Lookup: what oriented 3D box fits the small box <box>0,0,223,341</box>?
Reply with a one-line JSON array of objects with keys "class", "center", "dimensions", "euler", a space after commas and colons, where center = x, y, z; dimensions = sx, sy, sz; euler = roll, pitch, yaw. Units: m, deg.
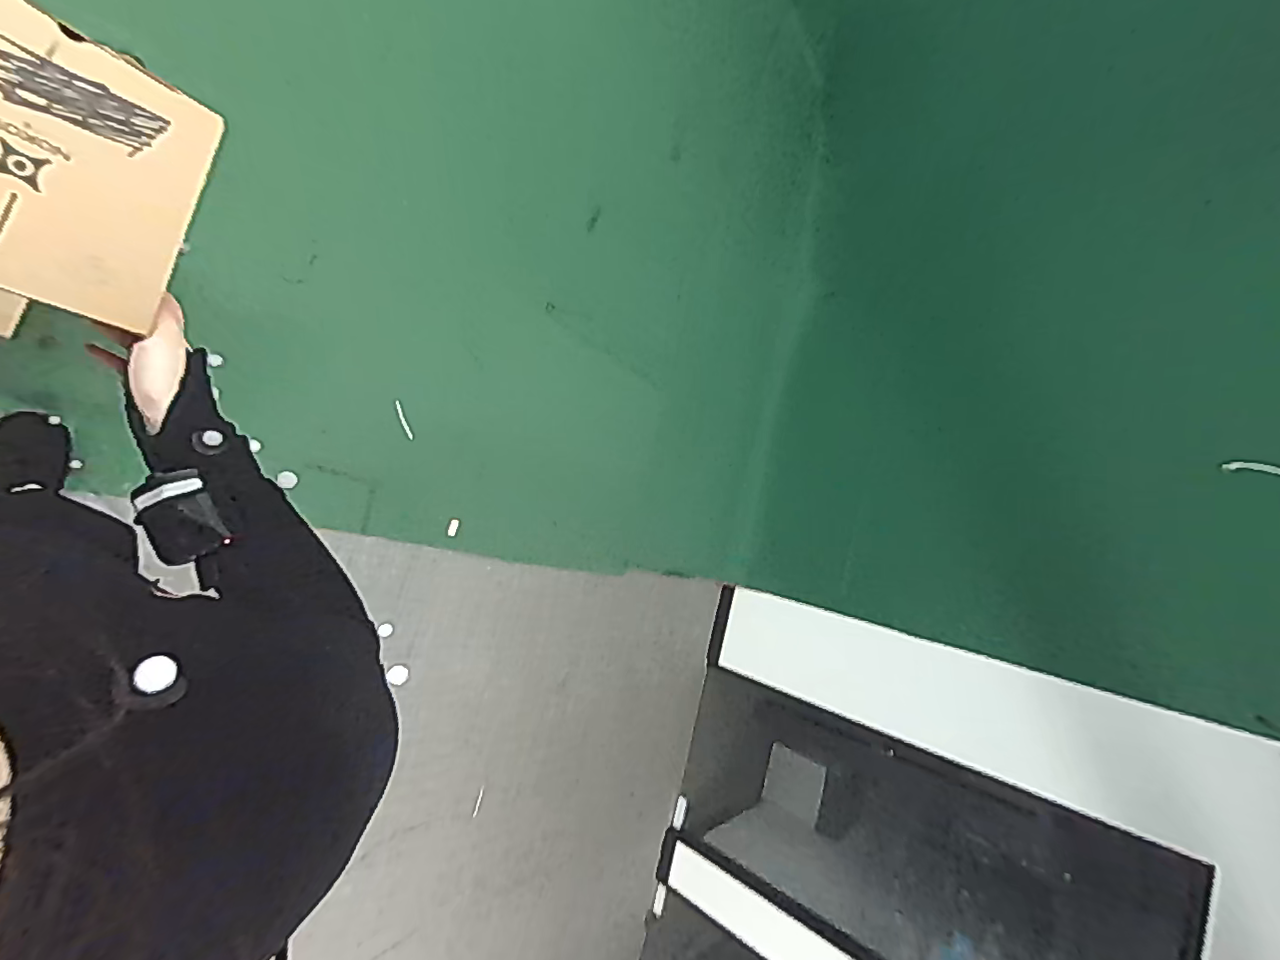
[{"class": "small box", "center": [-0.439, -0.219, 0.382], "dimensions": [0.168, 0.176, 0.179], "euler": [21, 89, -50]}]
